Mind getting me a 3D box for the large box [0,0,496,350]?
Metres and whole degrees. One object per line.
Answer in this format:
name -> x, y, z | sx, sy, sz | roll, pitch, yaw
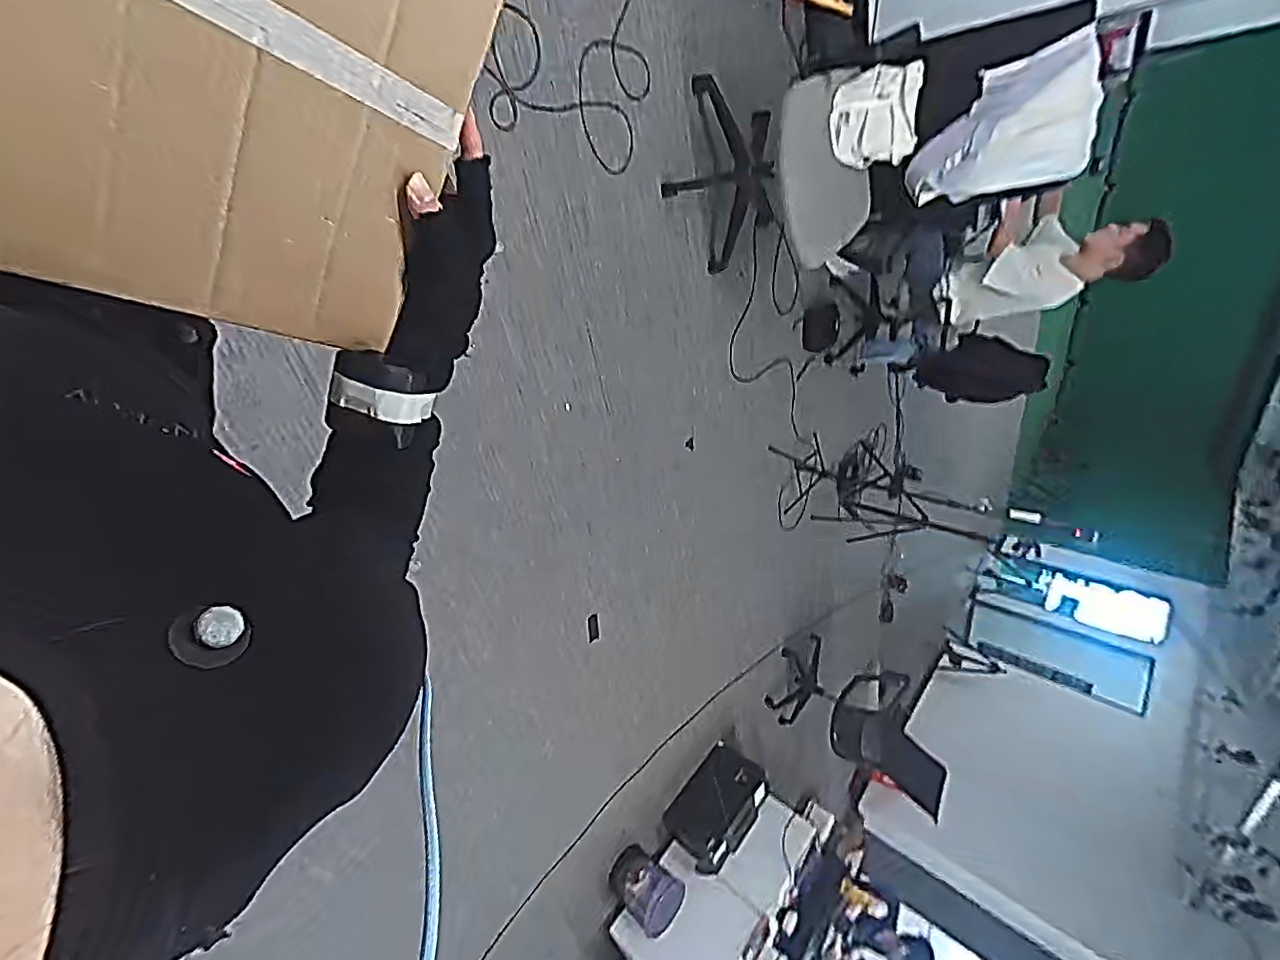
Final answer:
large box -> -0.343, -0.317, 0.295 | 0.408, 0.320, 0.320 | 5, 125, -45
